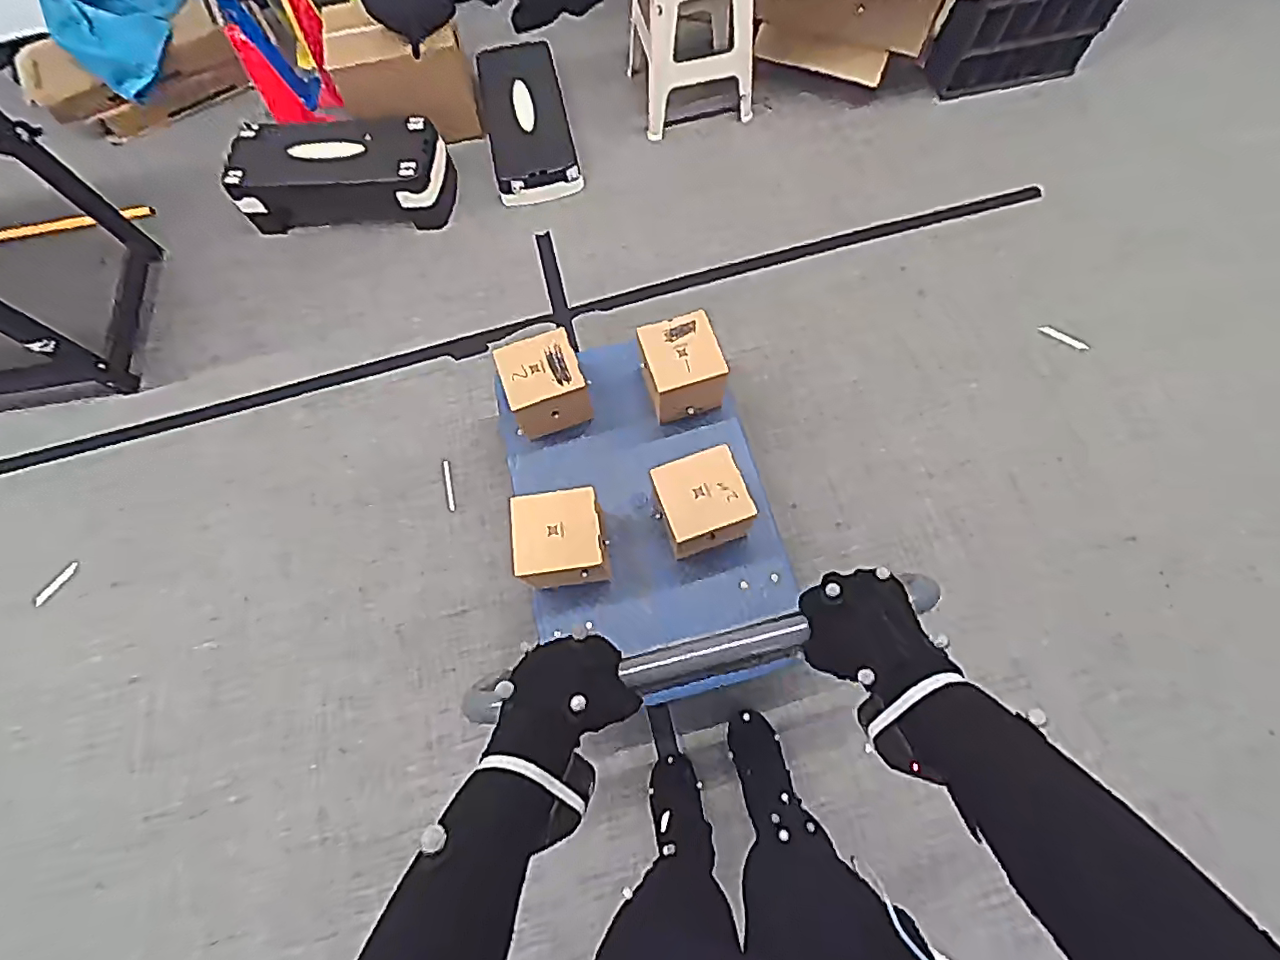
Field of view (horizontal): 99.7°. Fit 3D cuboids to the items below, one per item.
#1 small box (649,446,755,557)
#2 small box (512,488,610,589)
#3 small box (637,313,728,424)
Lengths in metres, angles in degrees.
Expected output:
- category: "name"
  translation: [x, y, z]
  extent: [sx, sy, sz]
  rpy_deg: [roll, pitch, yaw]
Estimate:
- category: "small box"
  translation: [0.130, 0.055, 1.177]
  extent: [0.179, 0.176, 0.168]
  rpy_deg: [-19, 71, -4]
- category: "small box"
  translation: [-0.166, 0.132, 1.164]
  extent: [0.179, 0.176, 0.168]
  rpy_deg: [-8, 70, -2]
- category: "small box"
  translation: [0.096, -0.261, 1.292]
  extent: [0.168, 0.176, 0.179]
  rpy_deg: [-17, 71, -3]
